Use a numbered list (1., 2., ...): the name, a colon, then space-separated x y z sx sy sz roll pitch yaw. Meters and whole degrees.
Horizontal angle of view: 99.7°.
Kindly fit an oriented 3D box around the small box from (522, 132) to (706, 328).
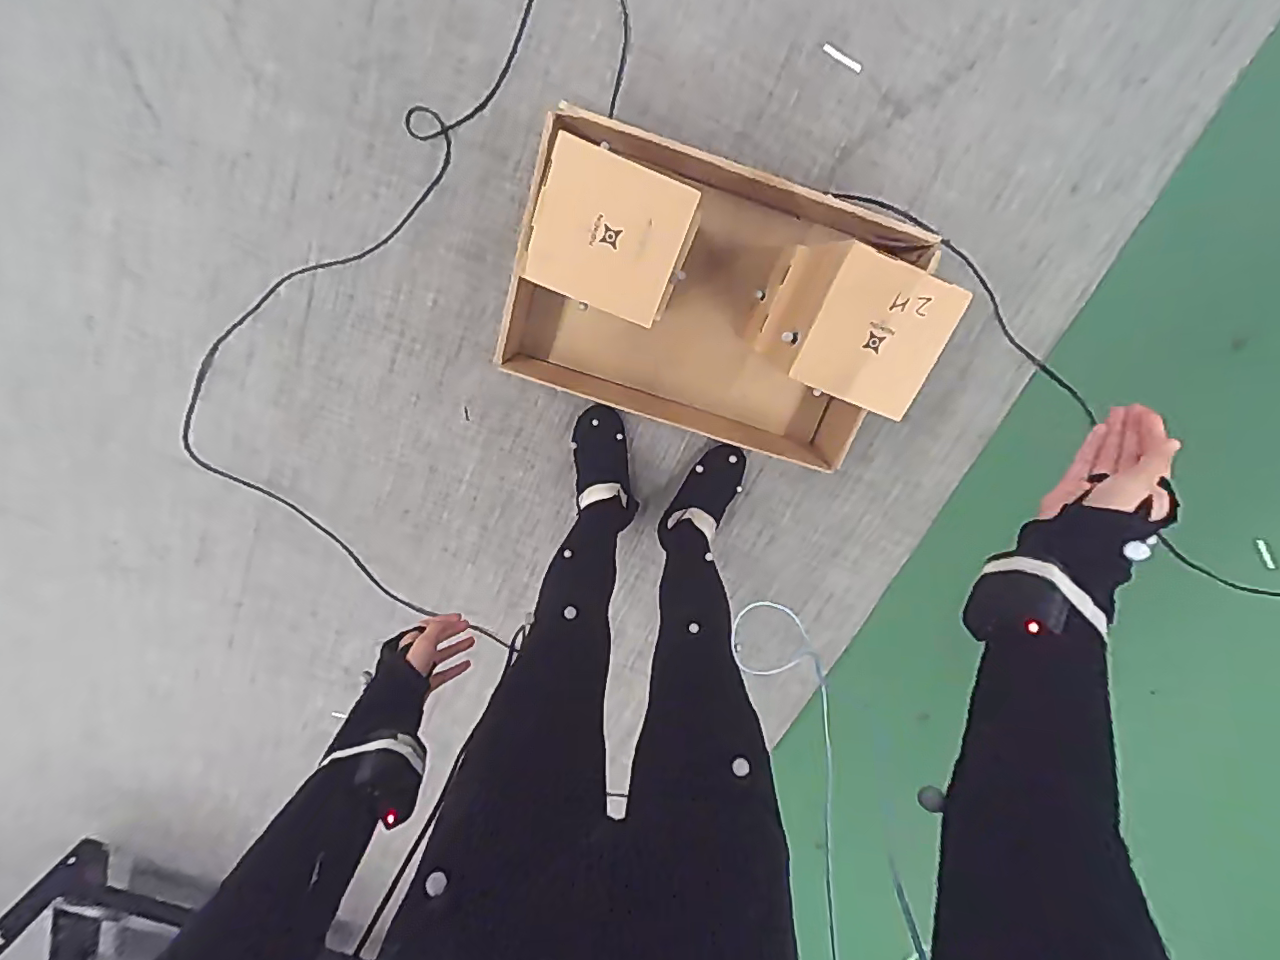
1. small box: -0.033 -0.317 0.713 0.179 0.176 0.168 21 111 -8

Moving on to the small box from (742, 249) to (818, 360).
1. small box: 0.286 -0.263 0.900 0.179 0.176 0.168 22 109 -6

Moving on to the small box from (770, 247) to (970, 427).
1. small box: 0.296 -0.199 0.747 0.168 0.176 0.179 21 109 -7
